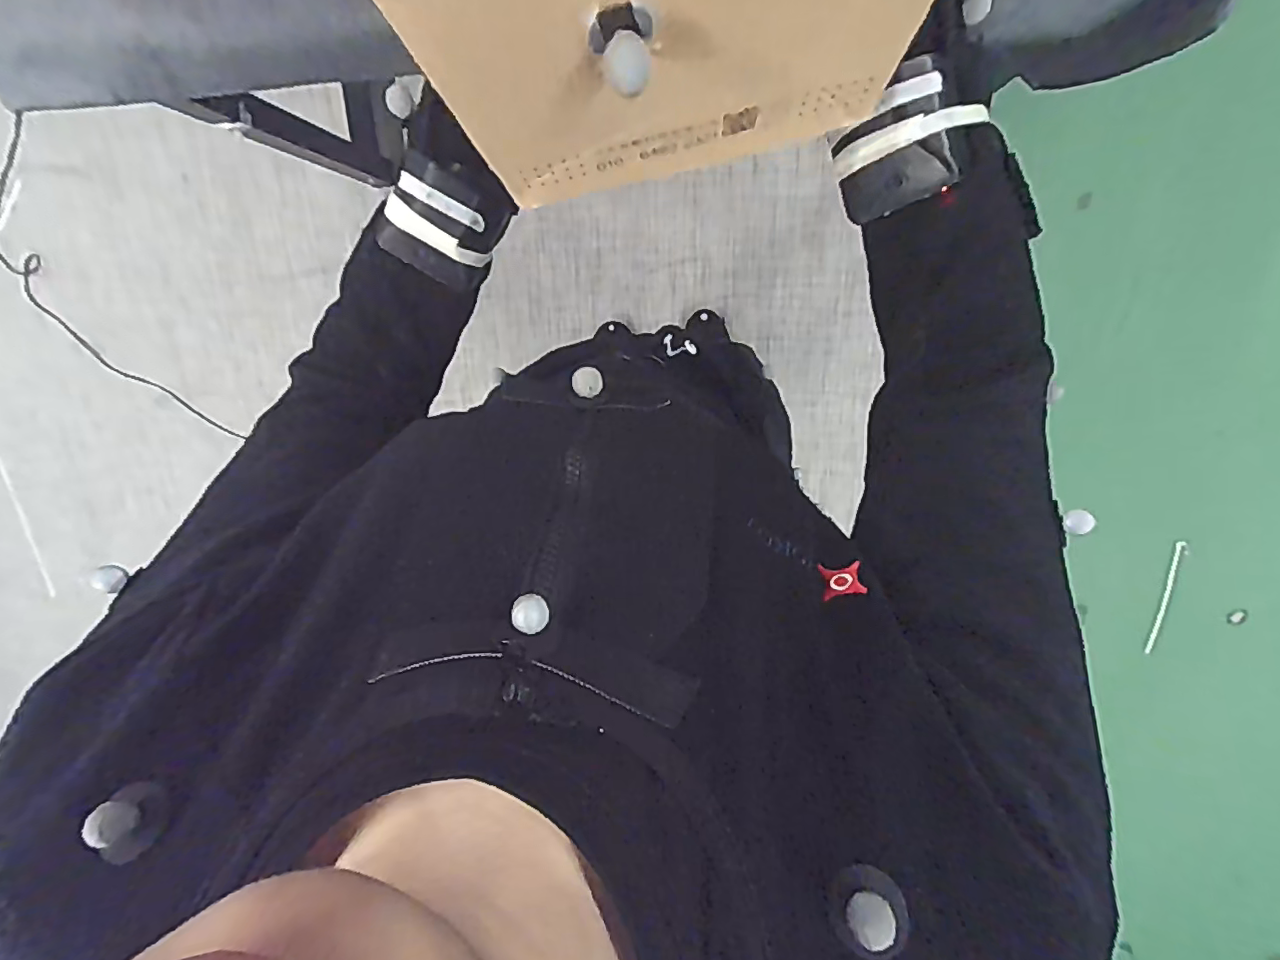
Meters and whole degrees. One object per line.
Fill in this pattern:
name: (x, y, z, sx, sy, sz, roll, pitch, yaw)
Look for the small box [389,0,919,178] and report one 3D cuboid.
small box: (0.001, -0.223, 0.165, 0.168, 0.176, 0.179, -12, 93, 6)
